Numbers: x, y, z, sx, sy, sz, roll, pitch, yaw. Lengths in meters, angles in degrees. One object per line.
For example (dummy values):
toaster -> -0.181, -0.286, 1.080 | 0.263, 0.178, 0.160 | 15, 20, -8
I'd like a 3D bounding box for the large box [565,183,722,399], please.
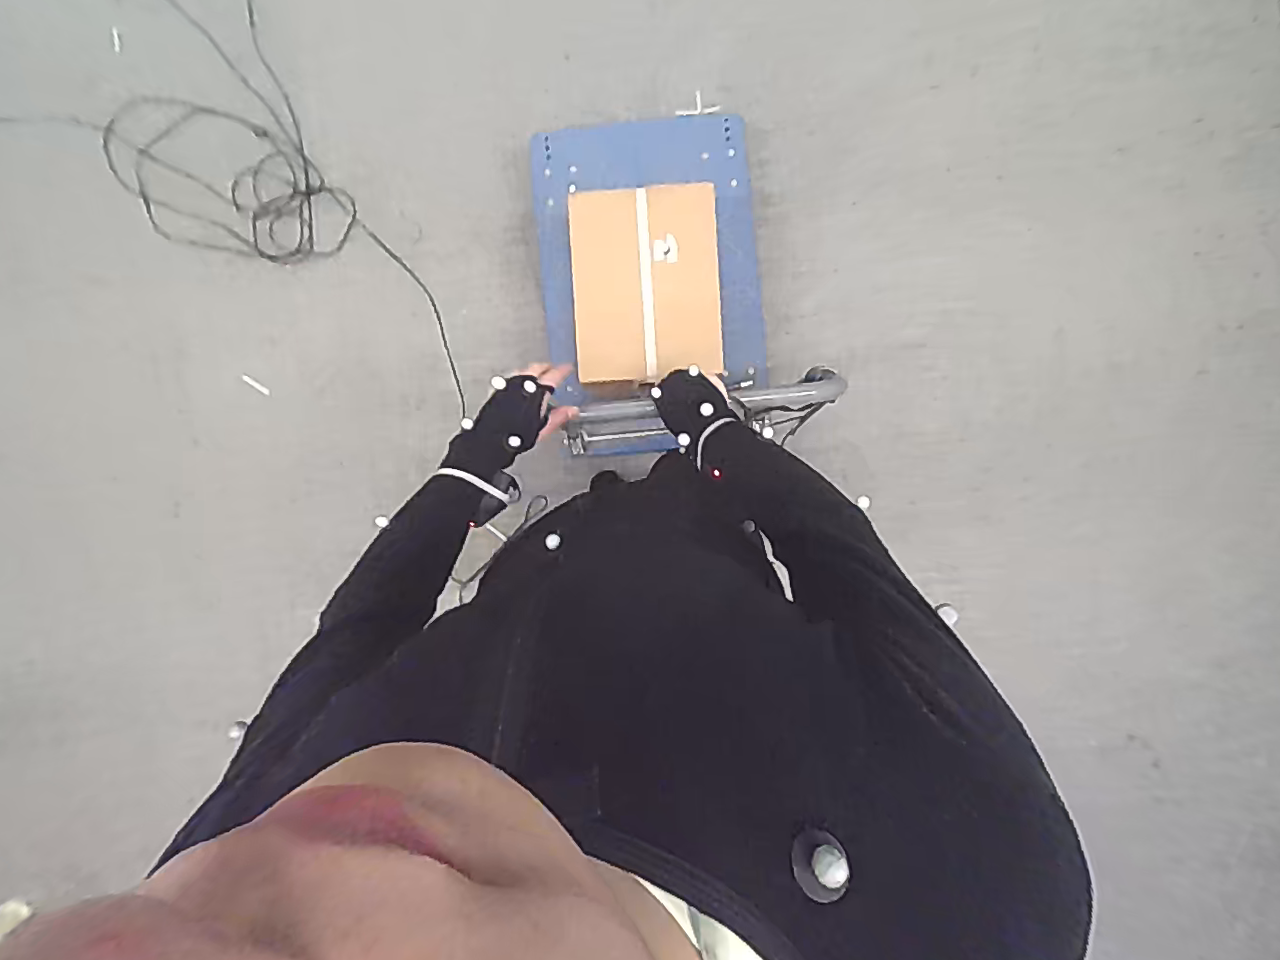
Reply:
large box -> 0.010, -0.419, 1.287 | 0.320, 0.320, 0.408 | -3, 92, 0
